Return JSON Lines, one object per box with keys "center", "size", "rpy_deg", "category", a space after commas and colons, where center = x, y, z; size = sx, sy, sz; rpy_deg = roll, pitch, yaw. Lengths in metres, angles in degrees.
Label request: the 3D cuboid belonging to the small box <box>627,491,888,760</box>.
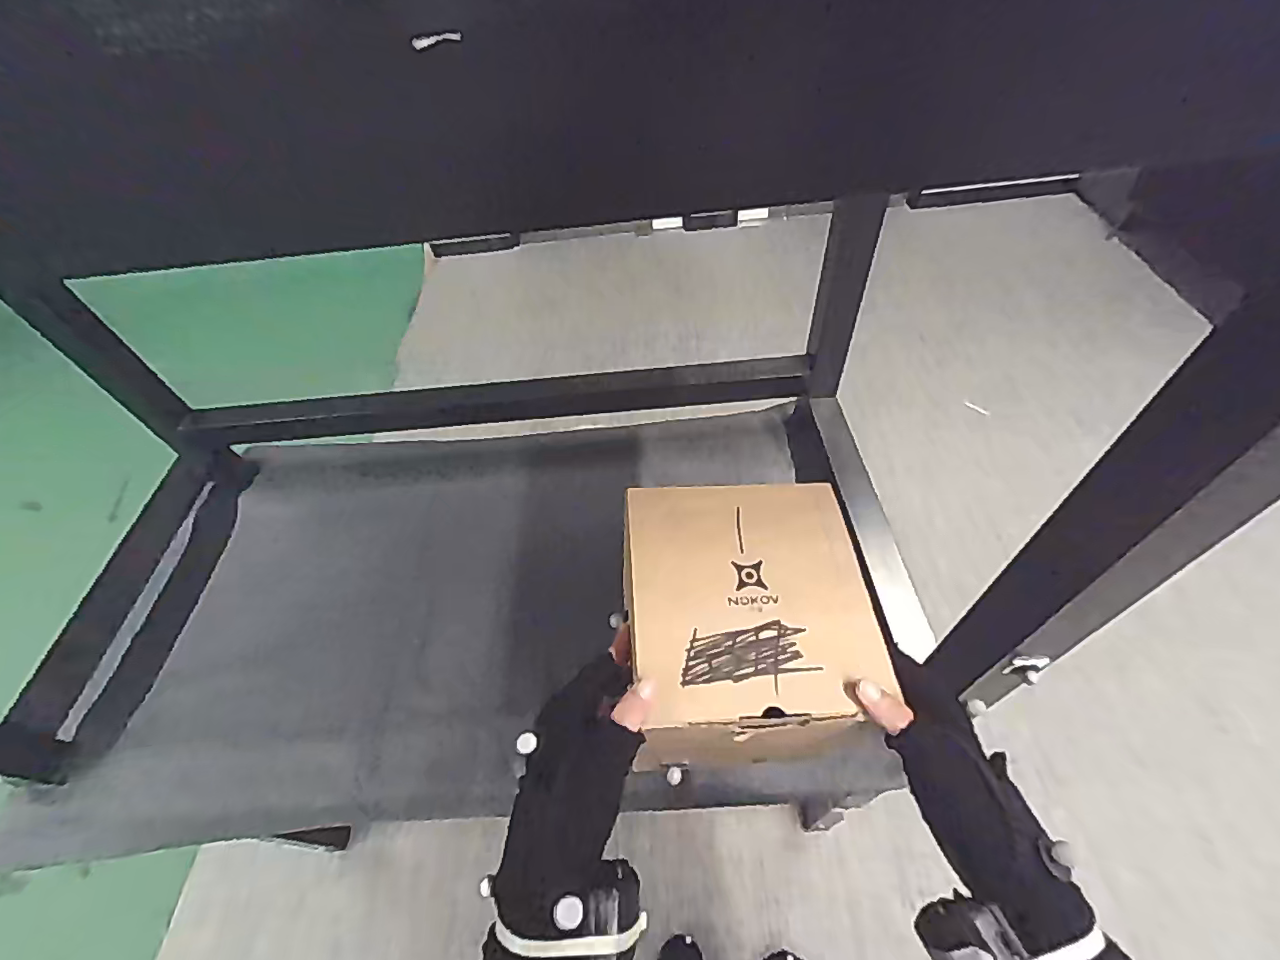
{"center": [0.074, 0.127, 0.453], "size": [0.168, 0.176, 0.179], "rpy_deg": [0, 52, -3], "category": "small box"}
